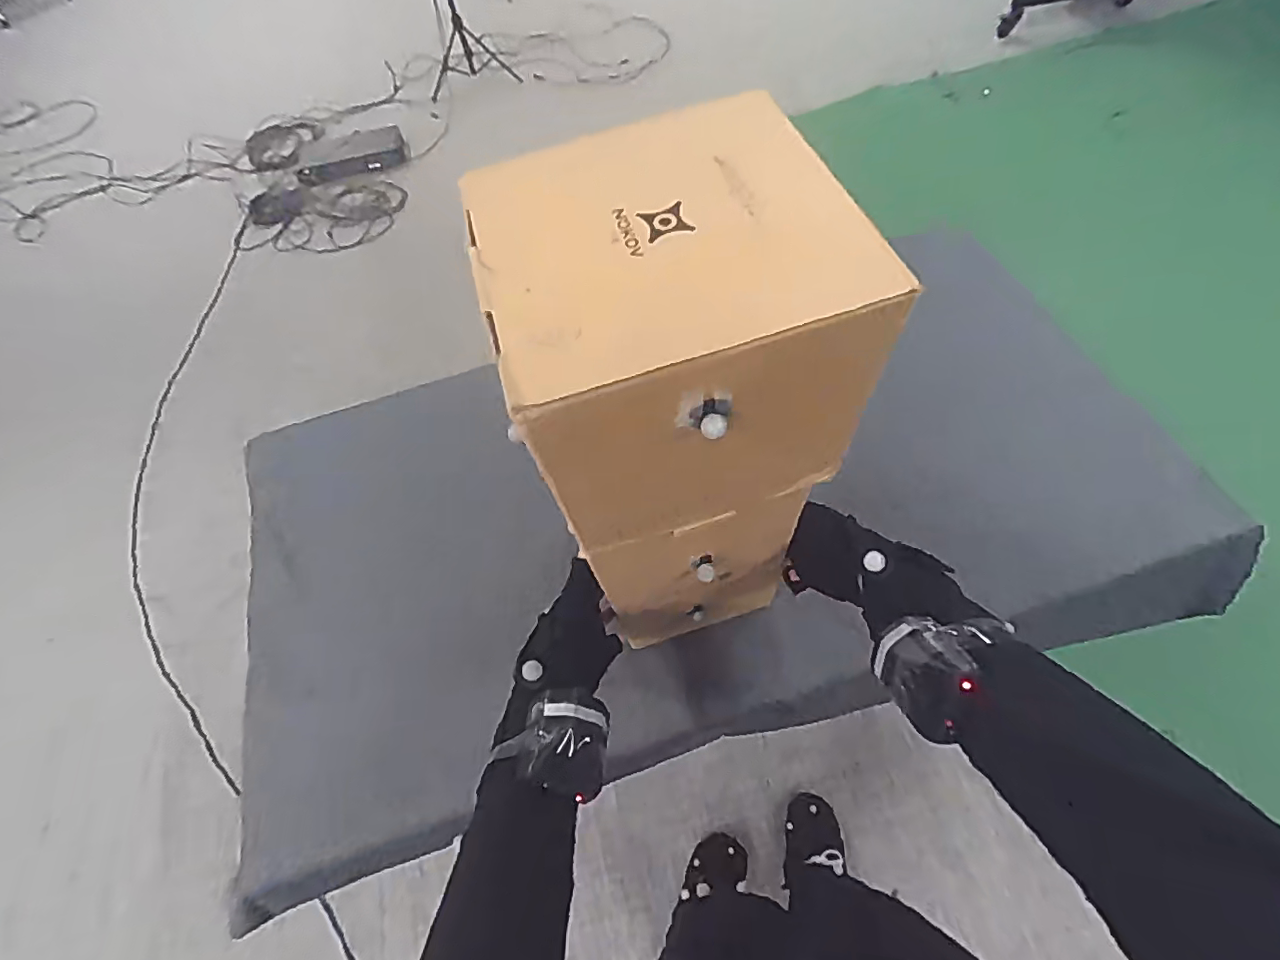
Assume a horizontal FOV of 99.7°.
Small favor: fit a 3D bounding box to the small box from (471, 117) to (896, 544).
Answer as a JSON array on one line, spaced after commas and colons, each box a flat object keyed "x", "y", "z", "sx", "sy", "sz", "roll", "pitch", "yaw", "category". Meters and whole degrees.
[{"x": 0.017, "y": -0.079, "z": 0.339, "sx": 0.179, "sy": 0.176, "sz": 0.168, "roll": -17, "pitch": 62, "yaw": -4, "category": "small box"}]

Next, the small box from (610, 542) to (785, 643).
[{"x": 0.045, "y": 0.071, "z": 0.626, "sx": 0.179, "sy": 0.176, "sz": 0.168, "roll": -18, "pitch": 61, "yaw": -3, "category": "small box"}]

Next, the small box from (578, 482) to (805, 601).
[{"x": 0.025, "y": -0.005, "z": 0.484, "sx": 0.168, "sy": 0.176, "sz": 0.179, "roll": -19, "pitch": 61, "yaw": -4, "category": "small box"}]
